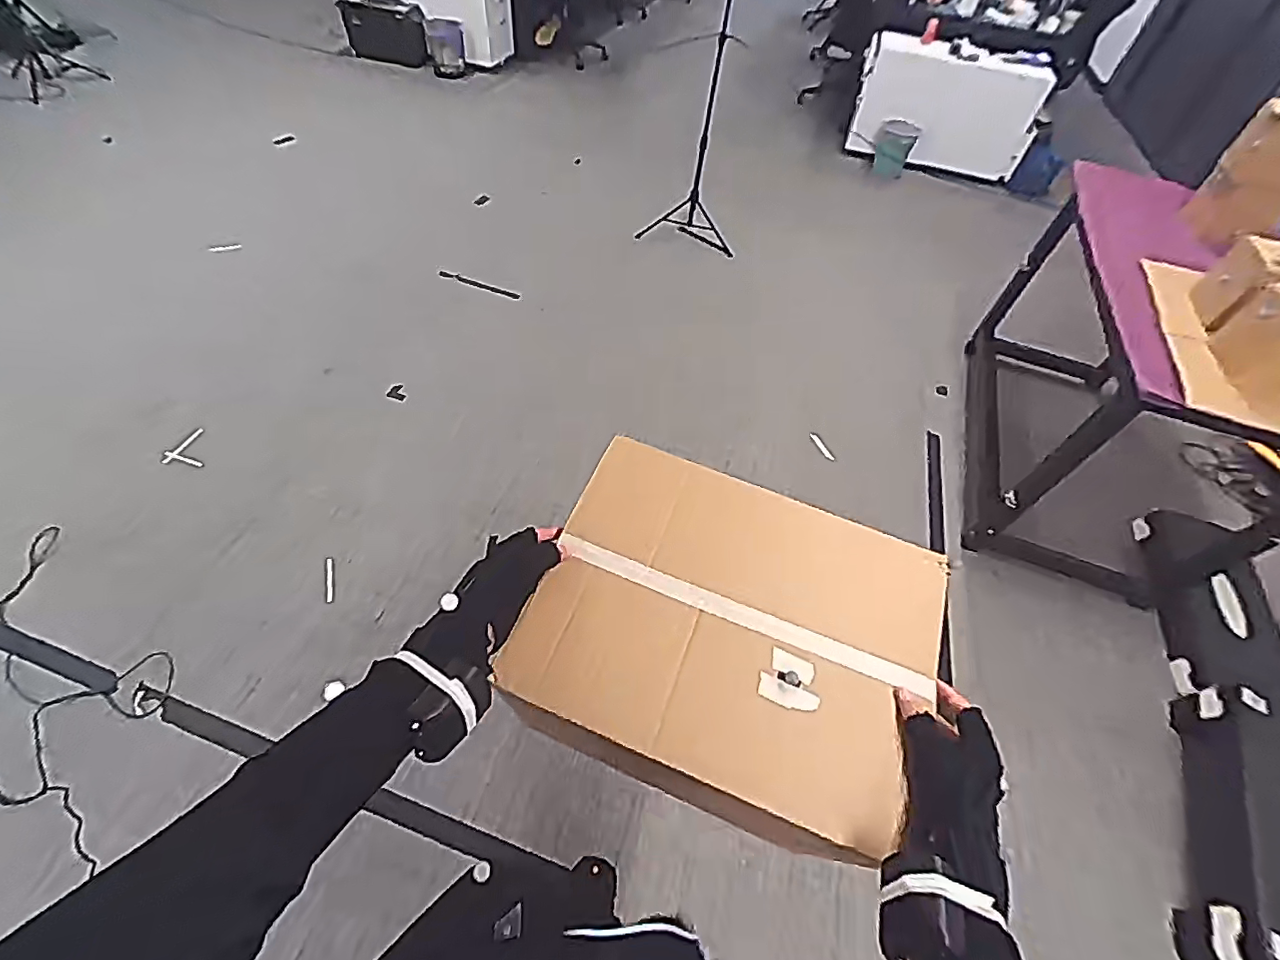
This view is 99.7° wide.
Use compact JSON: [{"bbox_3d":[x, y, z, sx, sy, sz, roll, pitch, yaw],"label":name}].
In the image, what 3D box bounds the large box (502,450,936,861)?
[{"bbox_3d":[0.089,0.223,0.698,0.408,0.320,0.320,21,61,8],"label":"large box"}]
